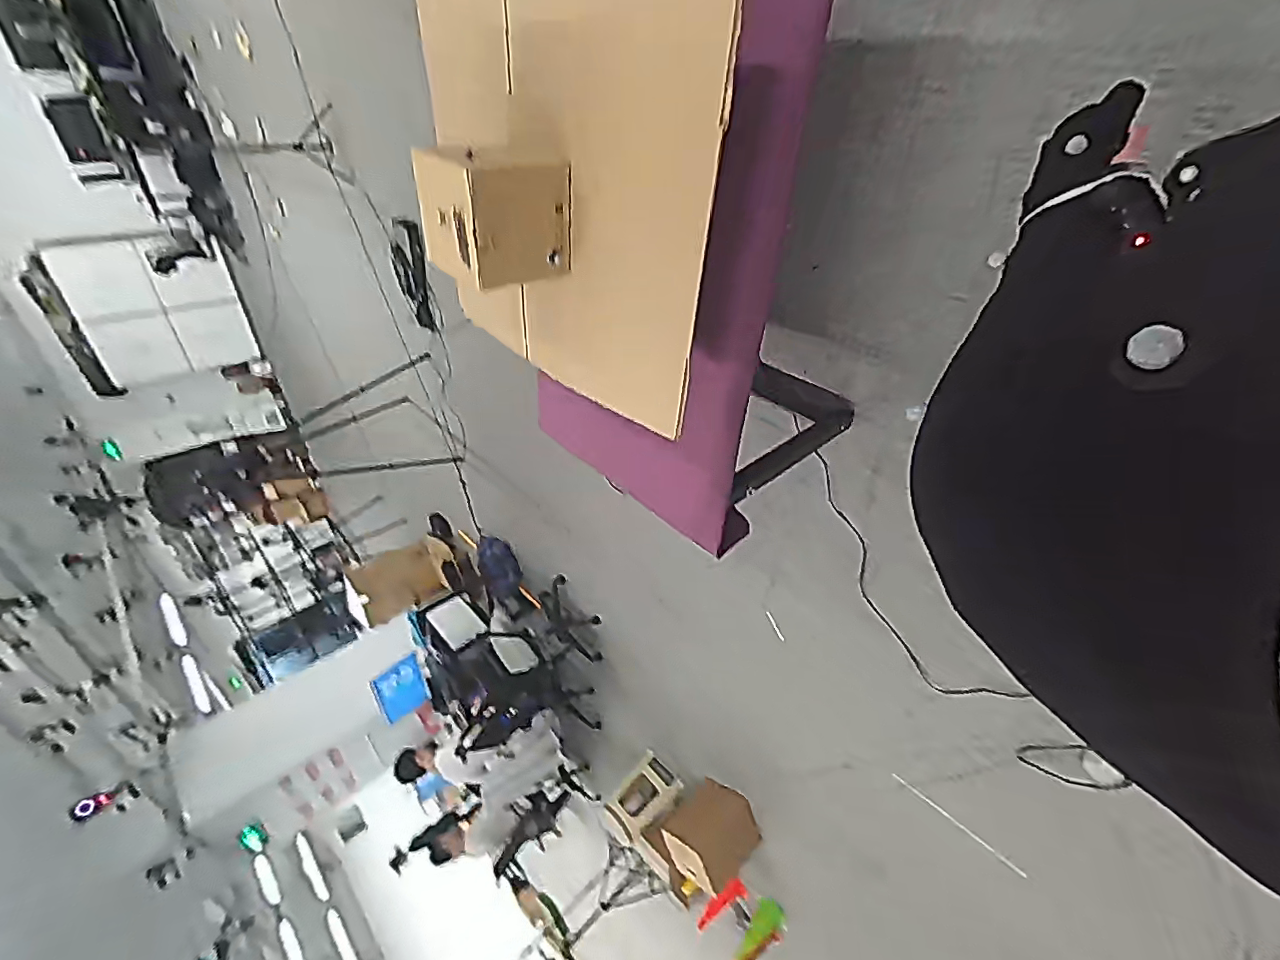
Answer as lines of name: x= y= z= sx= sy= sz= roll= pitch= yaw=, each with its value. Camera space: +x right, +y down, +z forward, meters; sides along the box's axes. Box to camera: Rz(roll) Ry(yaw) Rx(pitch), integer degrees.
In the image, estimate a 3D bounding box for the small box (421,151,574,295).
small box: x=-0.219 y=-0.417 z=0.862 sx=0.179 sy=0.176 sz=0.168 roll=37 pitch=138 yaw=33
